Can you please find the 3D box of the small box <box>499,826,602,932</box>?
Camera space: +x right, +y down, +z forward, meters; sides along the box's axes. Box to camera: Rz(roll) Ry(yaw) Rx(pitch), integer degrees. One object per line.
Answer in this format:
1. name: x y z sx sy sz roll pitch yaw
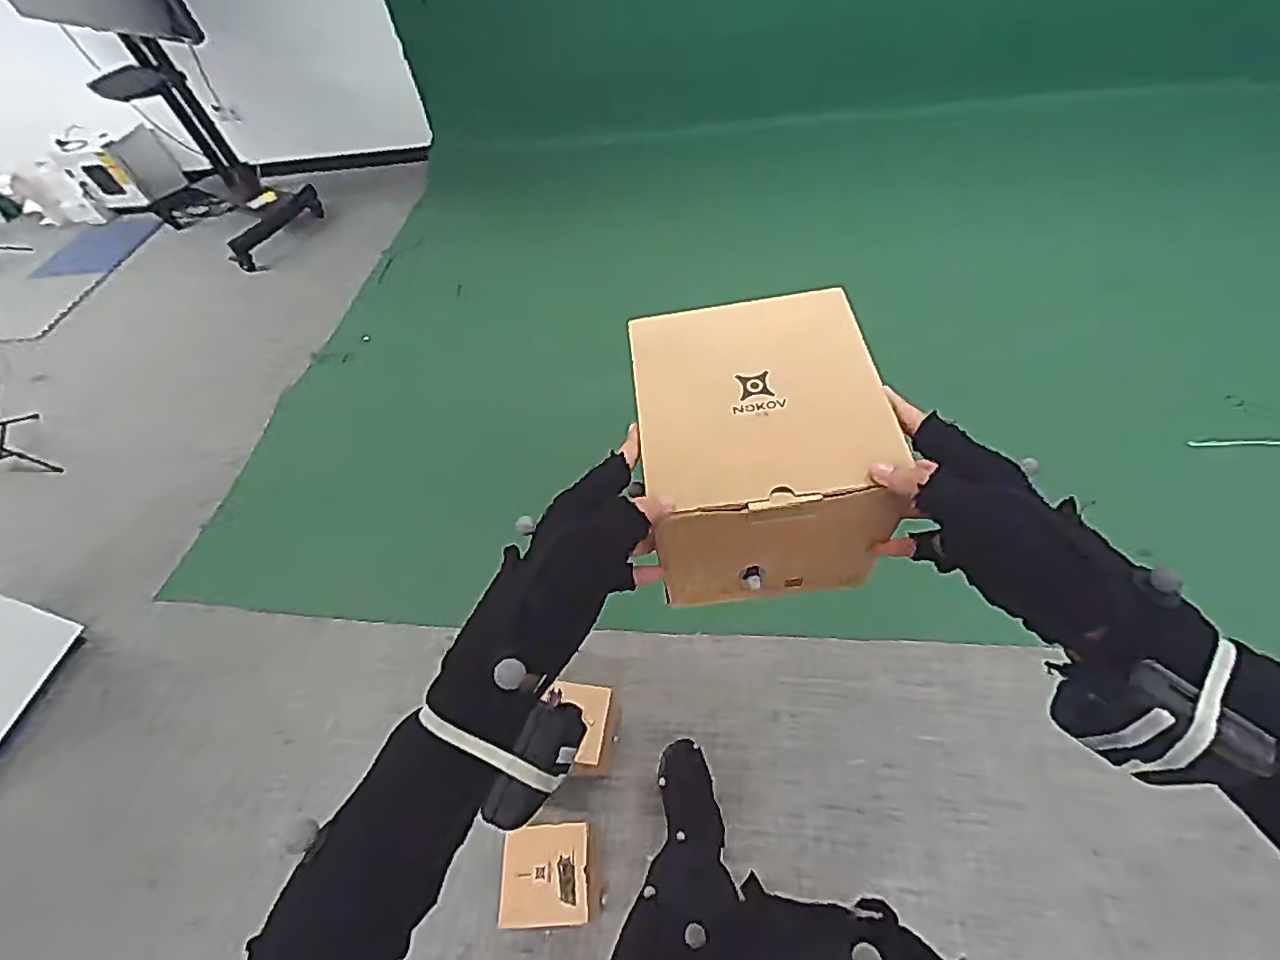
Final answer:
1. small box: -0.175 0.826 1.126 0.179 0.176 0.168 -7 53 4
